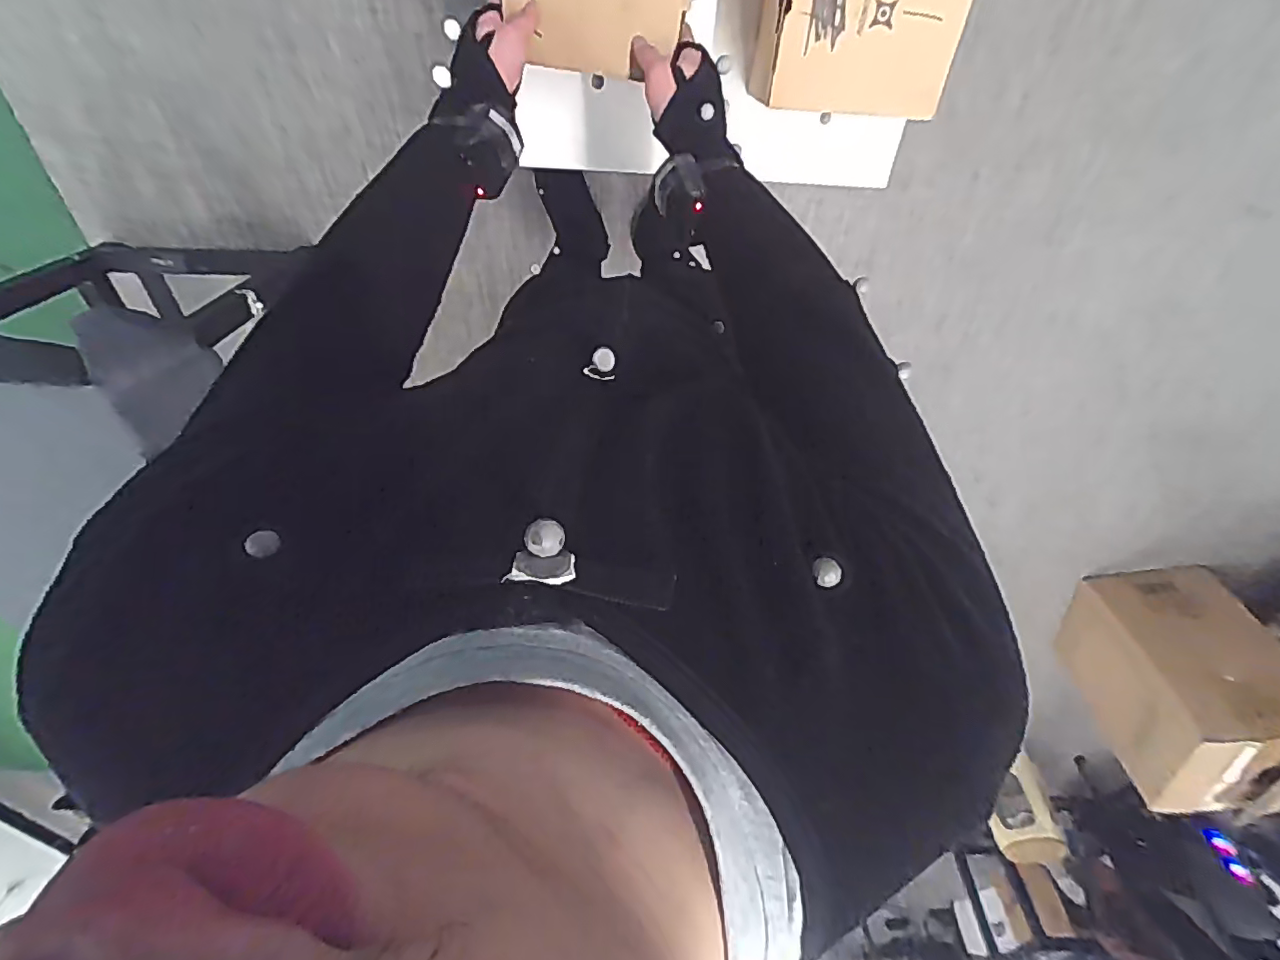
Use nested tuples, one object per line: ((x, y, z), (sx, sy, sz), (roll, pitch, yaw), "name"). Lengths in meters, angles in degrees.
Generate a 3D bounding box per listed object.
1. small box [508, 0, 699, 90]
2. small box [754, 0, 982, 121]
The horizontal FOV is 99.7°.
((-0.034, -0.508, 0.542), (0.179, 0.176, 0.168), (4, 126, -7), "small box")
((0.228, -0.486, 0.565), (0.179, 0.176, 0.168), (2, 129, -3), "small box")
